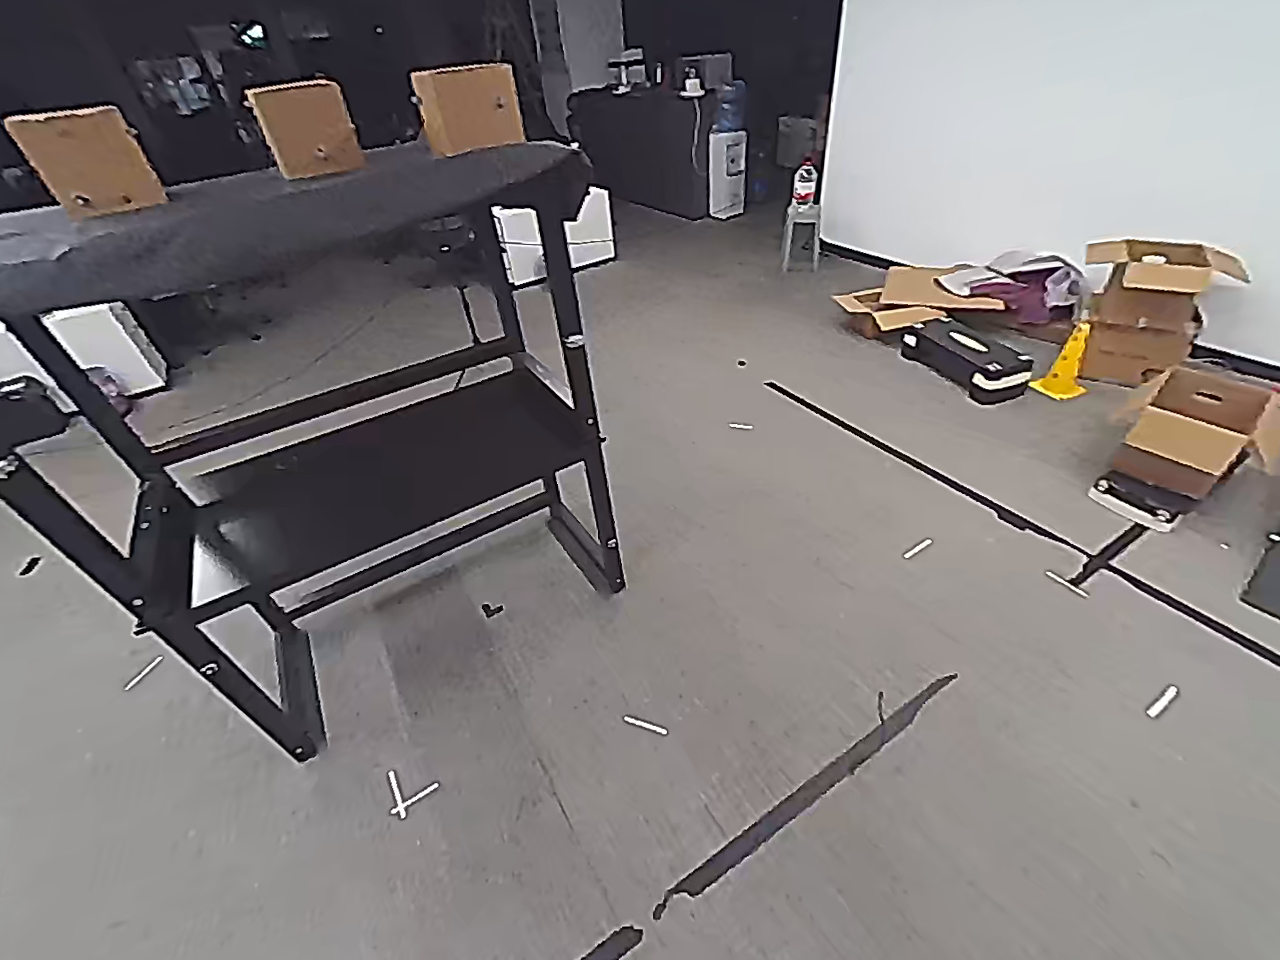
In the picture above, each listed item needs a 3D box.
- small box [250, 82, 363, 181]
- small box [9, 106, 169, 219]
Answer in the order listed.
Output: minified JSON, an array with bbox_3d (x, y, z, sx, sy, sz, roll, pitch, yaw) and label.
[{"bbox_3d":[-0.771,-0.816,1.262,0.179,0.176,0.168,-25,43,-22],"label":"small box"},{"bbox_3d":[-1.108,-0.648,1.105,0.168,0.176,0.179,-28,44,-24],"label":"small box"}]
